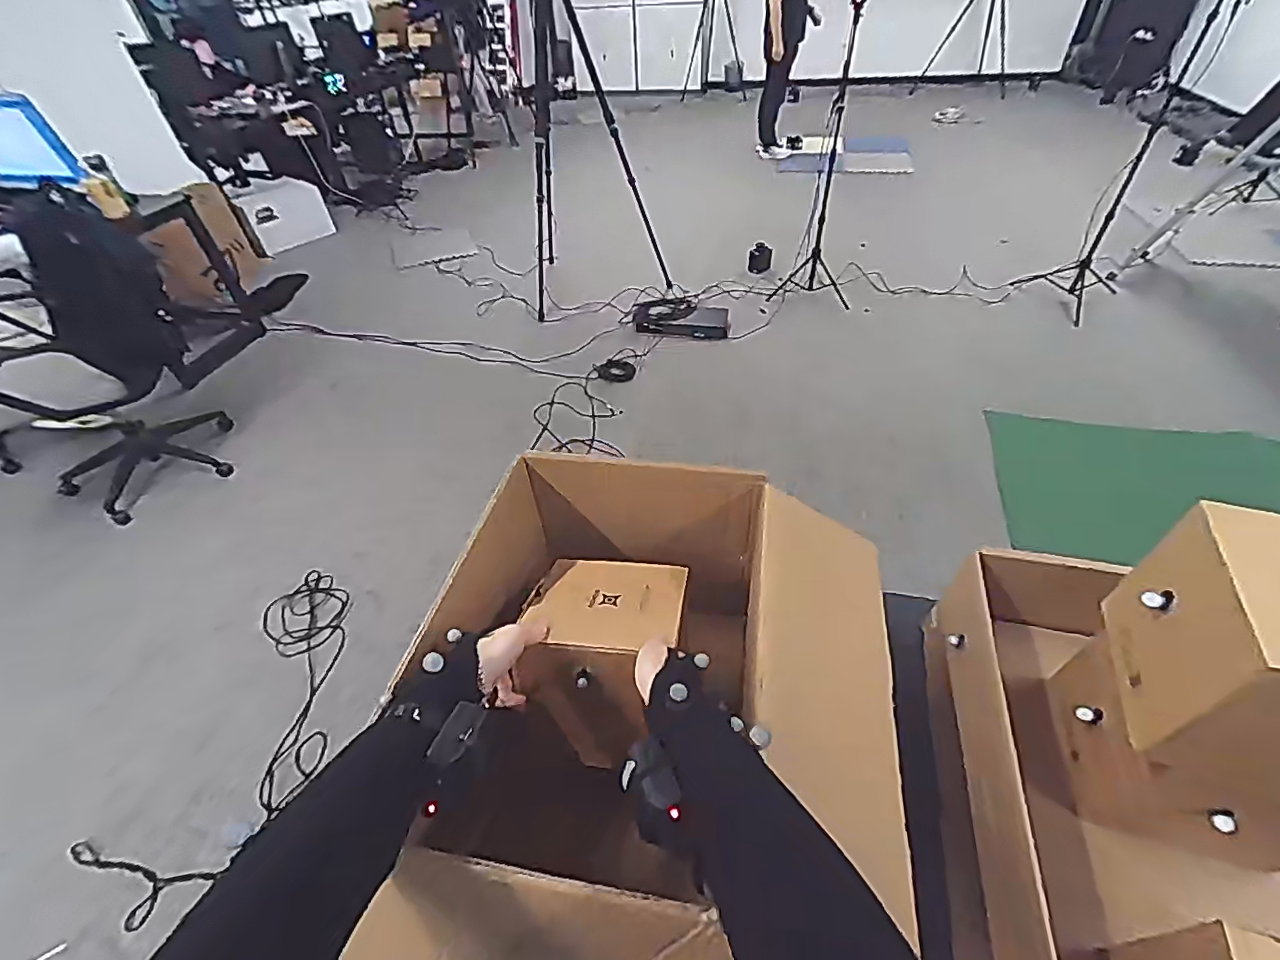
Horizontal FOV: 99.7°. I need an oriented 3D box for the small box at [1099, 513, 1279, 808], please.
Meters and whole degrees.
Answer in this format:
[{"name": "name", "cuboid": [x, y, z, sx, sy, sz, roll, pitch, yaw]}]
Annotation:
[{"name": "small box", "cuboid": [0.534, 0.159, 0.458, 0.179, 0.176, 0.168, 14, 48, 17]}]
